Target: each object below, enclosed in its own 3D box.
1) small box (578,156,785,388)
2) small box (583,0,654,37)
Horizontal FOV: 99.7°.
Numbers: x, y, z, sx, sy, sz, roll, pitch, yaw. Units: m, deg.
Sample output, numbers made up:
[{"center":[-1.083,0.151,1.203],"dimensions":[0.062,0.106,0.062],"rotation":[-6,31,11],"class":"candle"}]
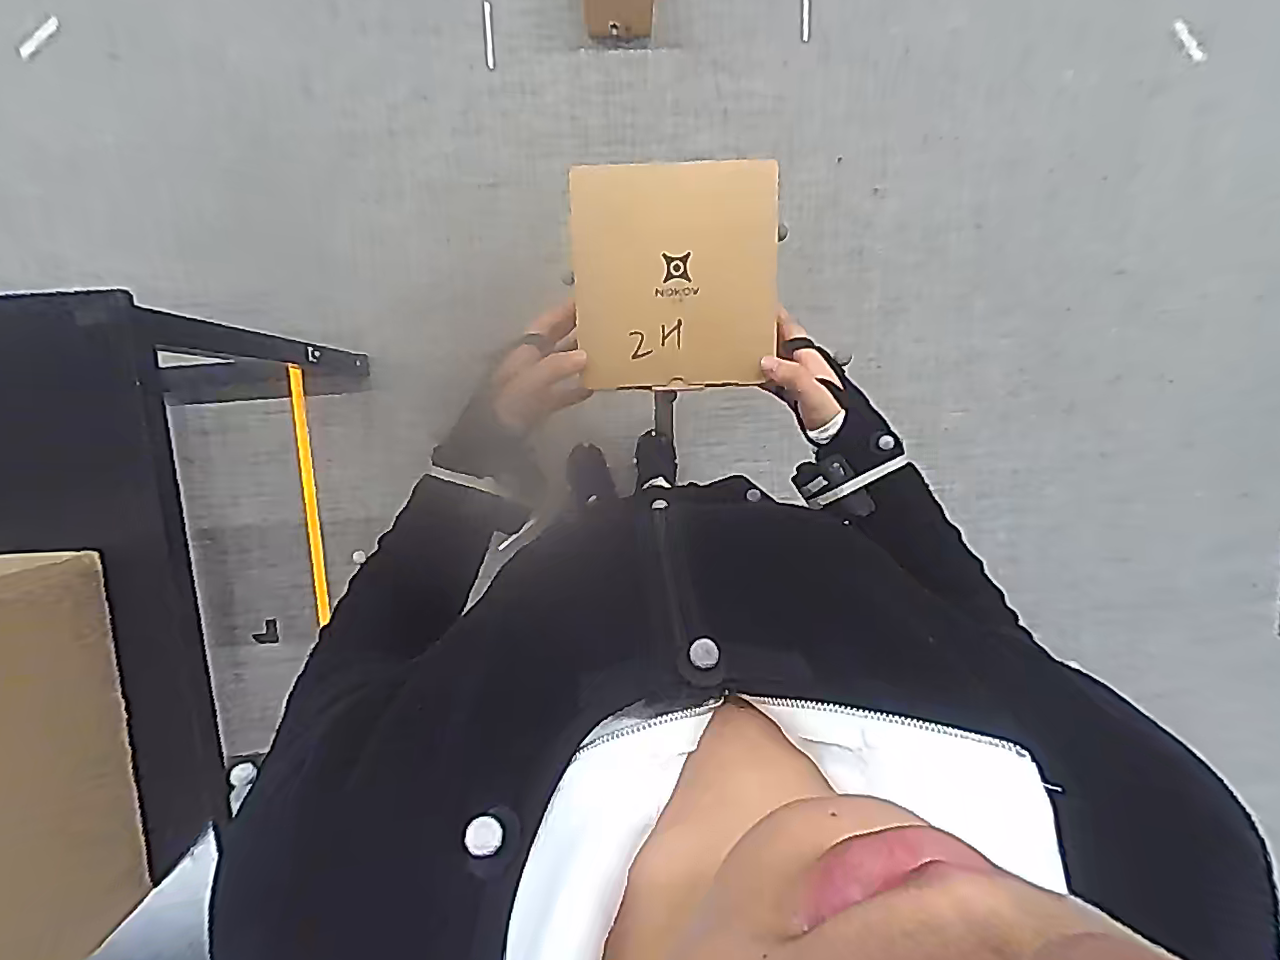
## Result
[{"center":[0.033,-0.178,0.511],"dimensions":[0.168,0.176,0.179],"rotation":[-2,101,1],"class":"small box"},{"center":[-0.054,-1.188,1.265],"dimensions":[0.168,0.176,0.179],"rotation":[-3,98,-1],"class":"small box"}]
